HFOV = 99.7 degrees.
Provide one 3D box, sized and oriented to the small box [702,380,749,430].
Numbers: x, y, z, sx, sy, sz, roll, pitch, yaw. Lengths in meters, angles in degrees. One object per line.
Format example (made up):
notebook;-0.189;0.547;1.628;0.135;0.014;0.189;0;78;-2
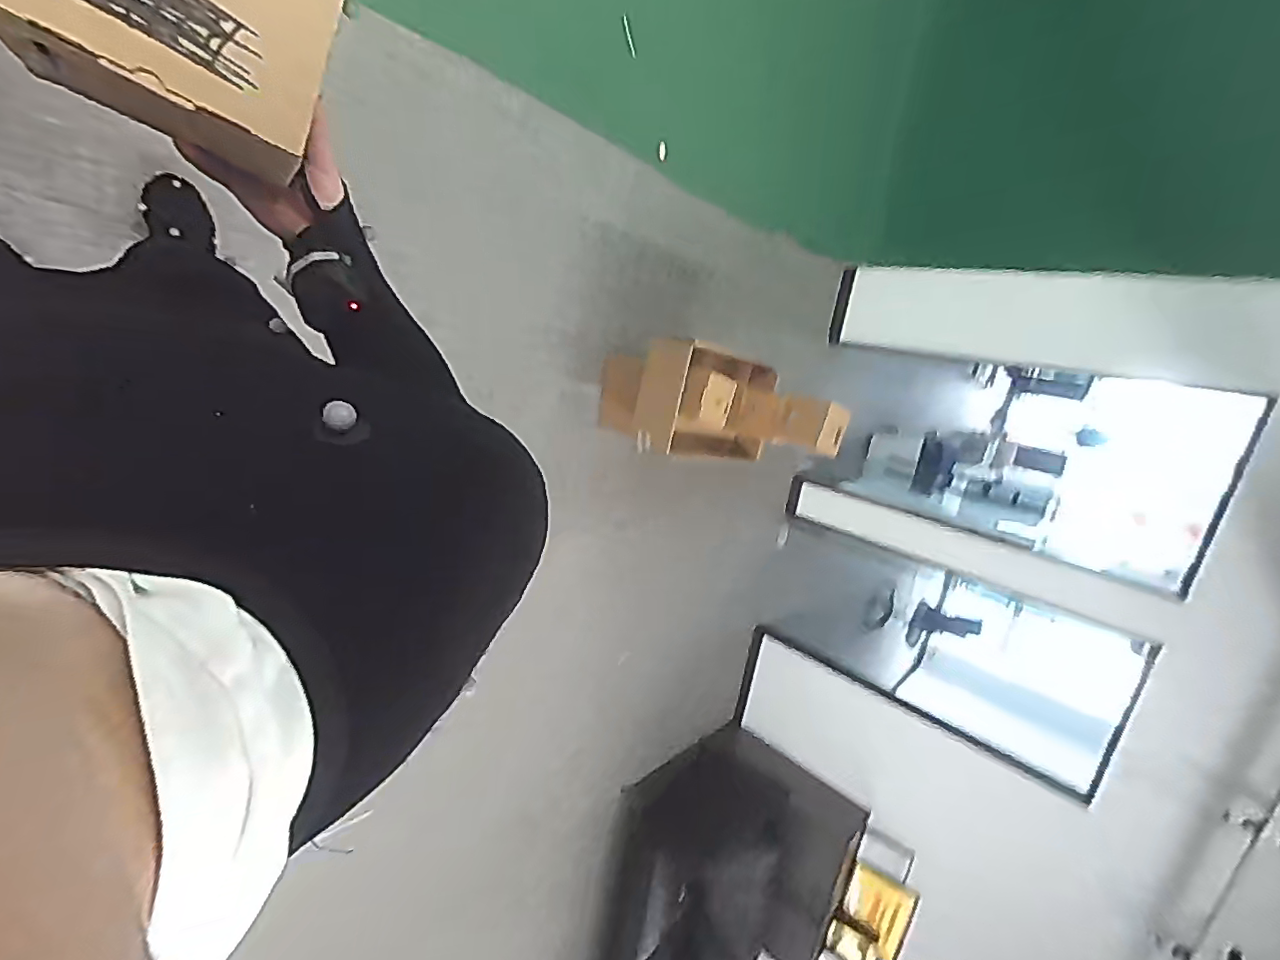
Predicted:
small box;0.369;-0.286;2.087;0.179;0.176;0.168;-1;106;-47

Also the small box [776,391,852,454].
small box;0.602;-0.201;1.875;0.179;0.176;0.168;12;97;-48

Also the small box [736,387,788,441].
small box;0.482;-0.242;1.980;0.179;0.176;0.168;-2;108;-46
